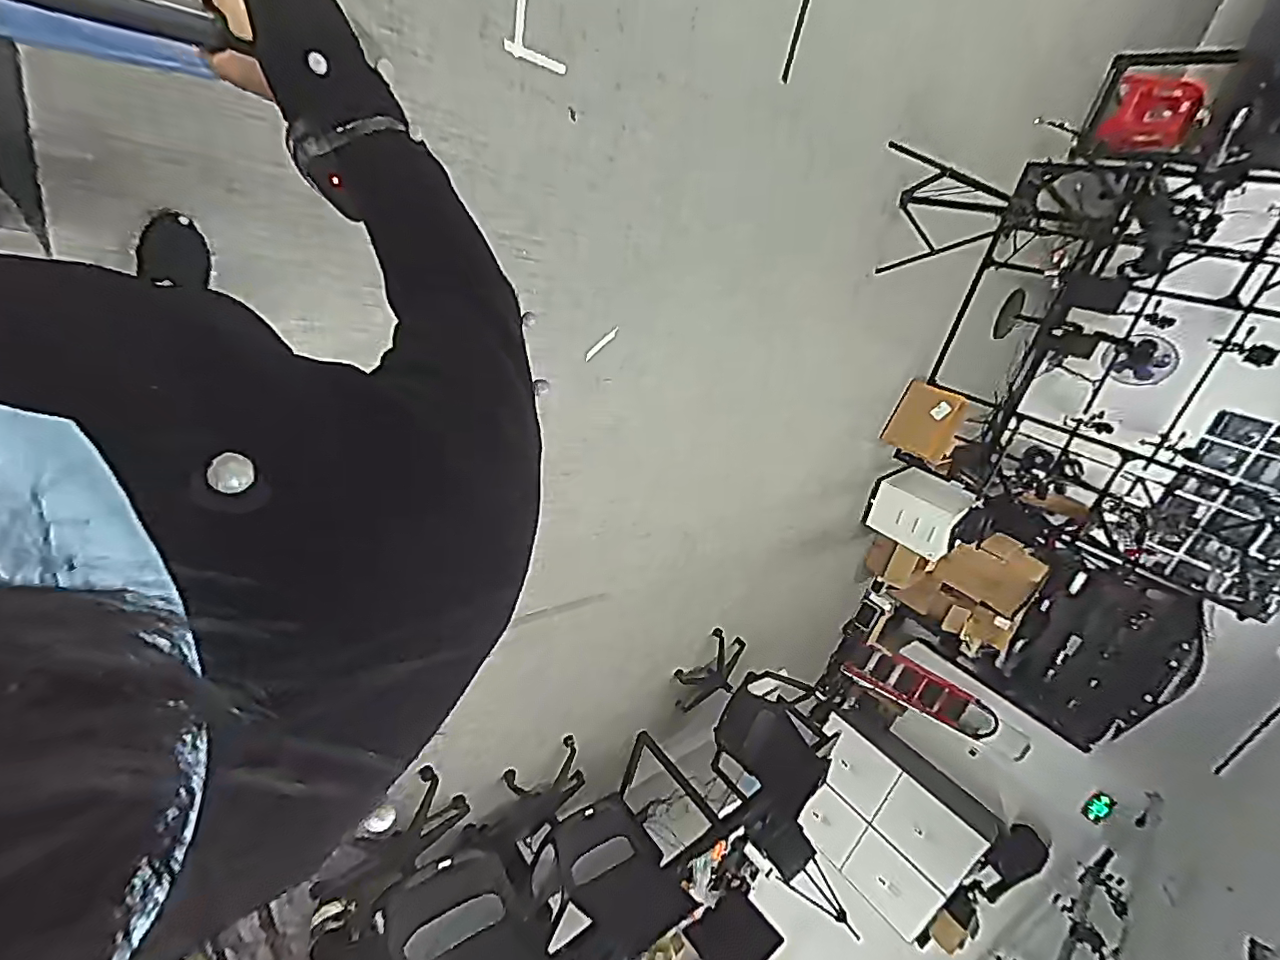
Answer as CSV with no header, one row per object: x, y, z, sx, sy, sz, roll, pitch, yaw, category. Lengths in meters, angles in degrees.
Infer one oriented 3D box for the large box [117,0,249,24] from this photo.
-0.694,-0.743,0.565,0.408,0.320,0.320,-16,127,-39,large box
